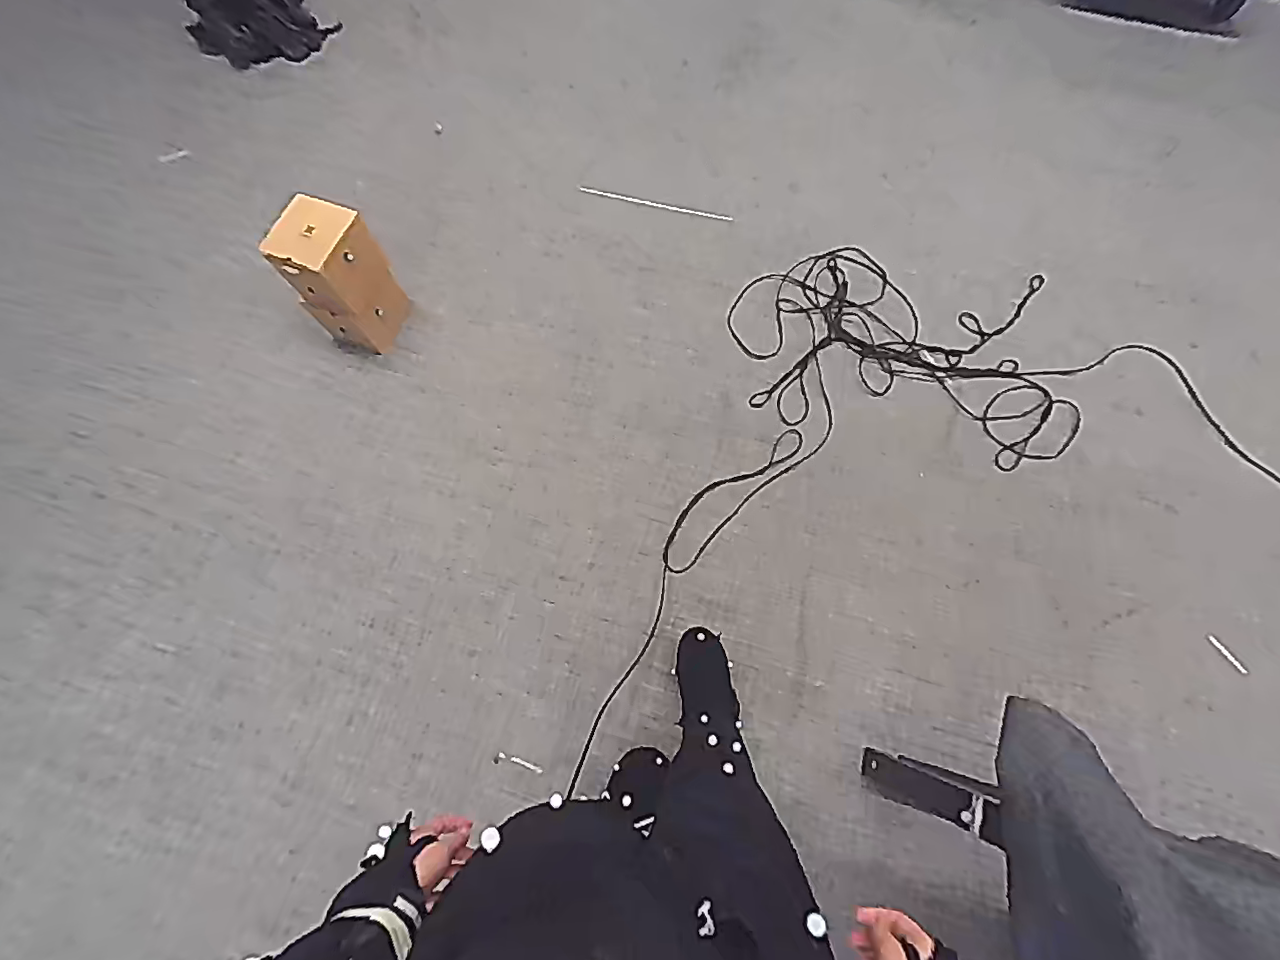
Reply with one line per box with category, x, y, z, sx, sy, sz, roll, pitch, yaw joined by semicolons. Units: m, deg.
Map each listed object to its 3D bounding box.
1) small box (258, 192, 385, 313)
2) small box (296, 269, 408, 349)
small box;-0.744;-0.537;1.289;0.168;0.176;0.179;20;74;8
small box;-0.755;-0.478;1.442;0.168;0.176;0.179;20;74;8
